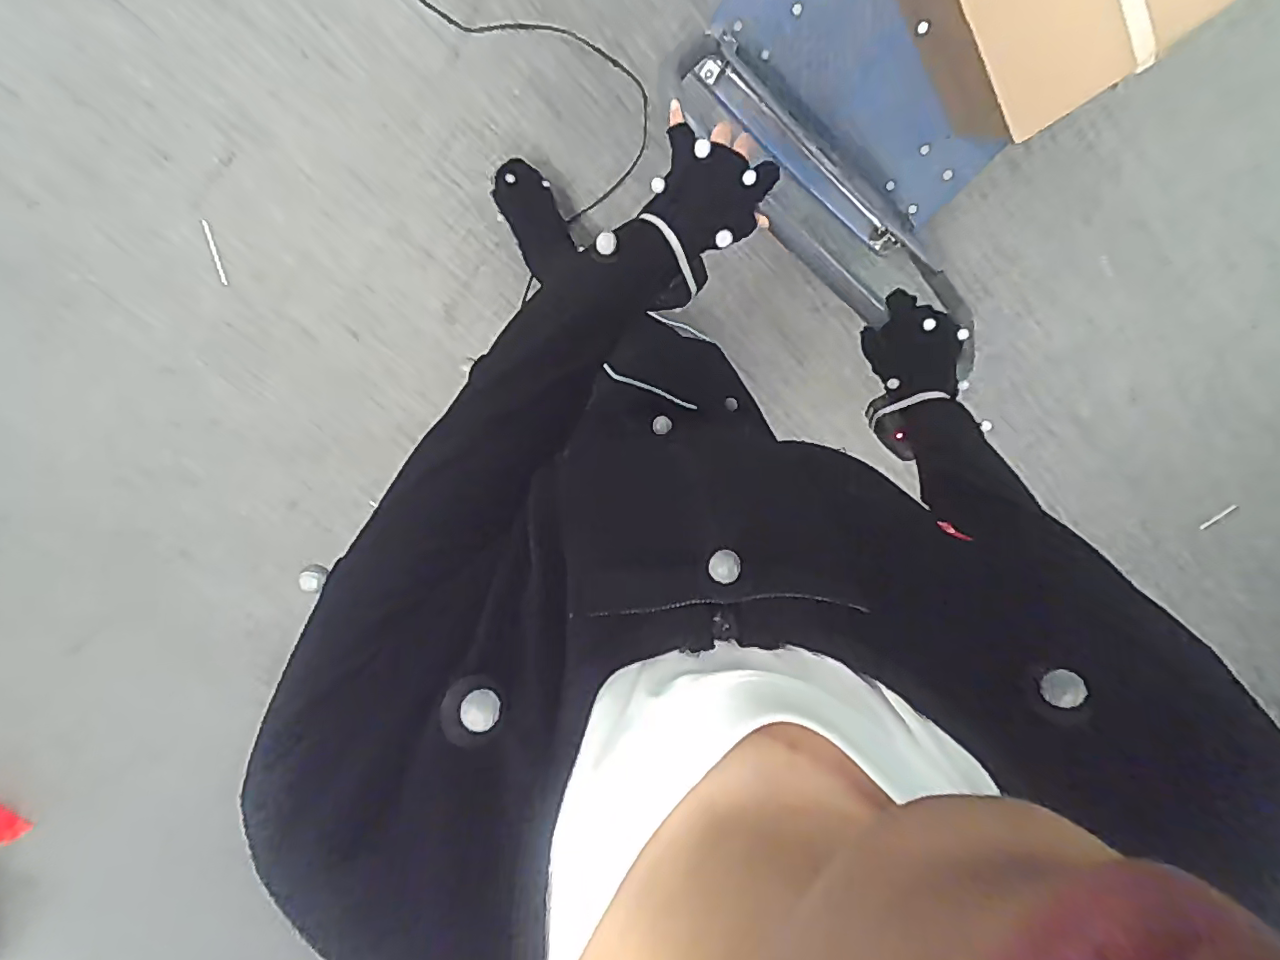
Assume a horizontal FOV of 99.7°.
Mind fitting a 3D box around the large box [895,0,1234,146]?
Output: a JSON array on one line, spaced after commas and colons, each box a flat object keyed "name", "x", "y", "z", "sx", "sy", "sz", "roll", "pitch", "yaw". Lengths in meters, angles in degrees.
[{"name": "large box", "x": 0.569, "y": -0.778, "z": 0.778, "sx": 0.320, "sy": 0.320, "sz": 0.408, "roll": -28, "pitch": 115, "yaw": 28}]
